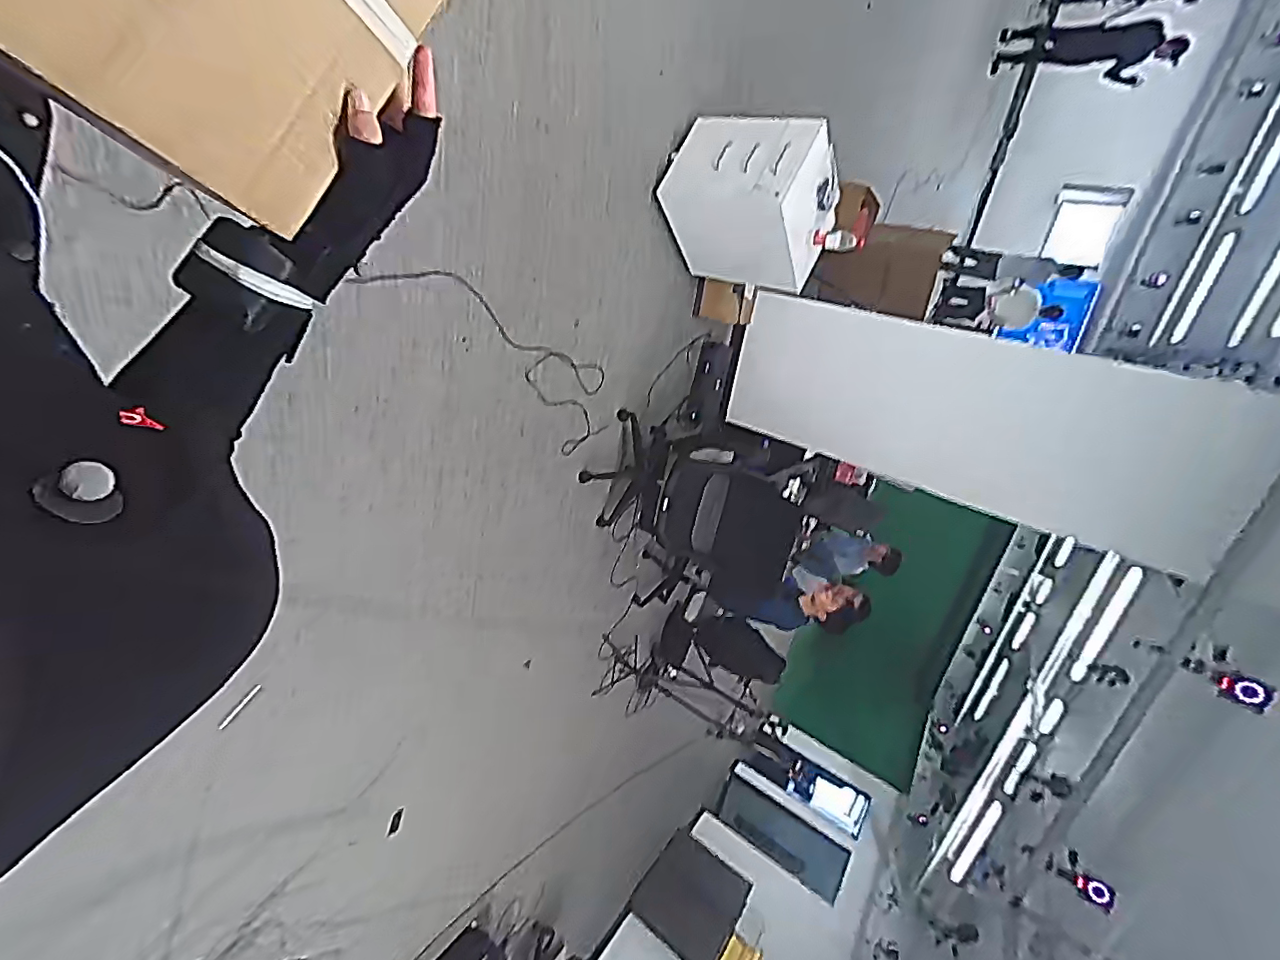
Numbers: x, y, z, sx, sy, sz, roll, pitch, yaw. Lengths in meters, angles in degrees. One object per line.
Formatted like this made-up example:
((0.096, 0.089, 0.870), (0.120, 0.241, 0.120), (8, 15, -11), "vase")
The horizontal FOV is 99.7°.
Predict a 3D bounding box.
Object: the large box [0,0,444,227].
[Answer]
((-0.370, -0.431, 0.307), (0.320, 0.320, 0.408), (-57, 148, 0), "large box")
